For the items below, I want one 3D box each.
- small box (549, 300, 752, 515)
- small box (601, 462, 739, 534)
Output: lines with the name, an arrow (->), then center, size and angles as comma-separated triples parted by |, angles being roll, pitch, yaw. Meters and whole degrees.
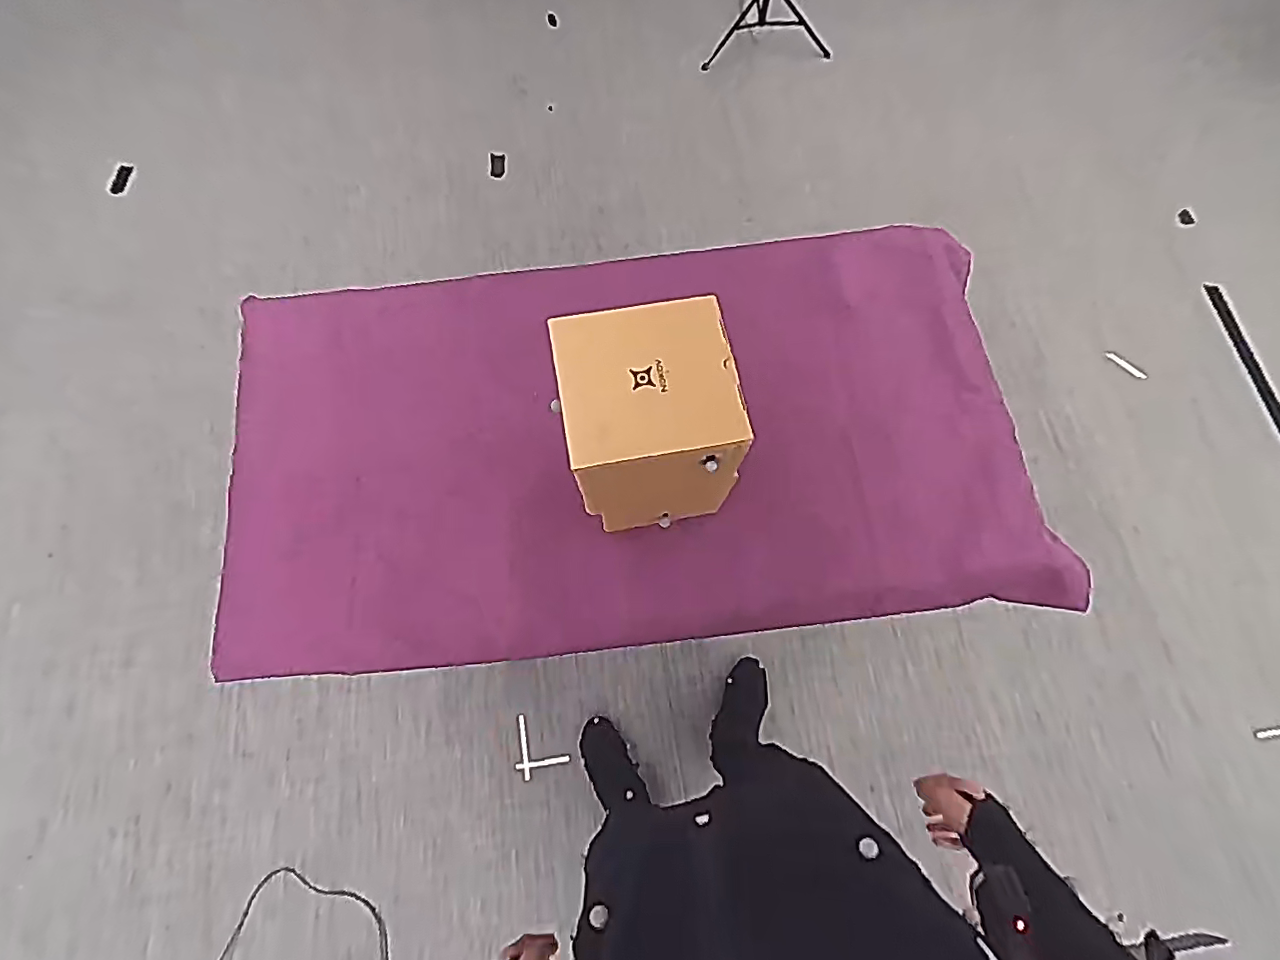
small box -> 0.007, -0.069, 0.598 | 0.179, 0.176, 0.168 | -10, 72, -4
small box -> 0.021, -0.032, 0.758 | 0.179, 0.176, 0.168 | -10, 72, -5
